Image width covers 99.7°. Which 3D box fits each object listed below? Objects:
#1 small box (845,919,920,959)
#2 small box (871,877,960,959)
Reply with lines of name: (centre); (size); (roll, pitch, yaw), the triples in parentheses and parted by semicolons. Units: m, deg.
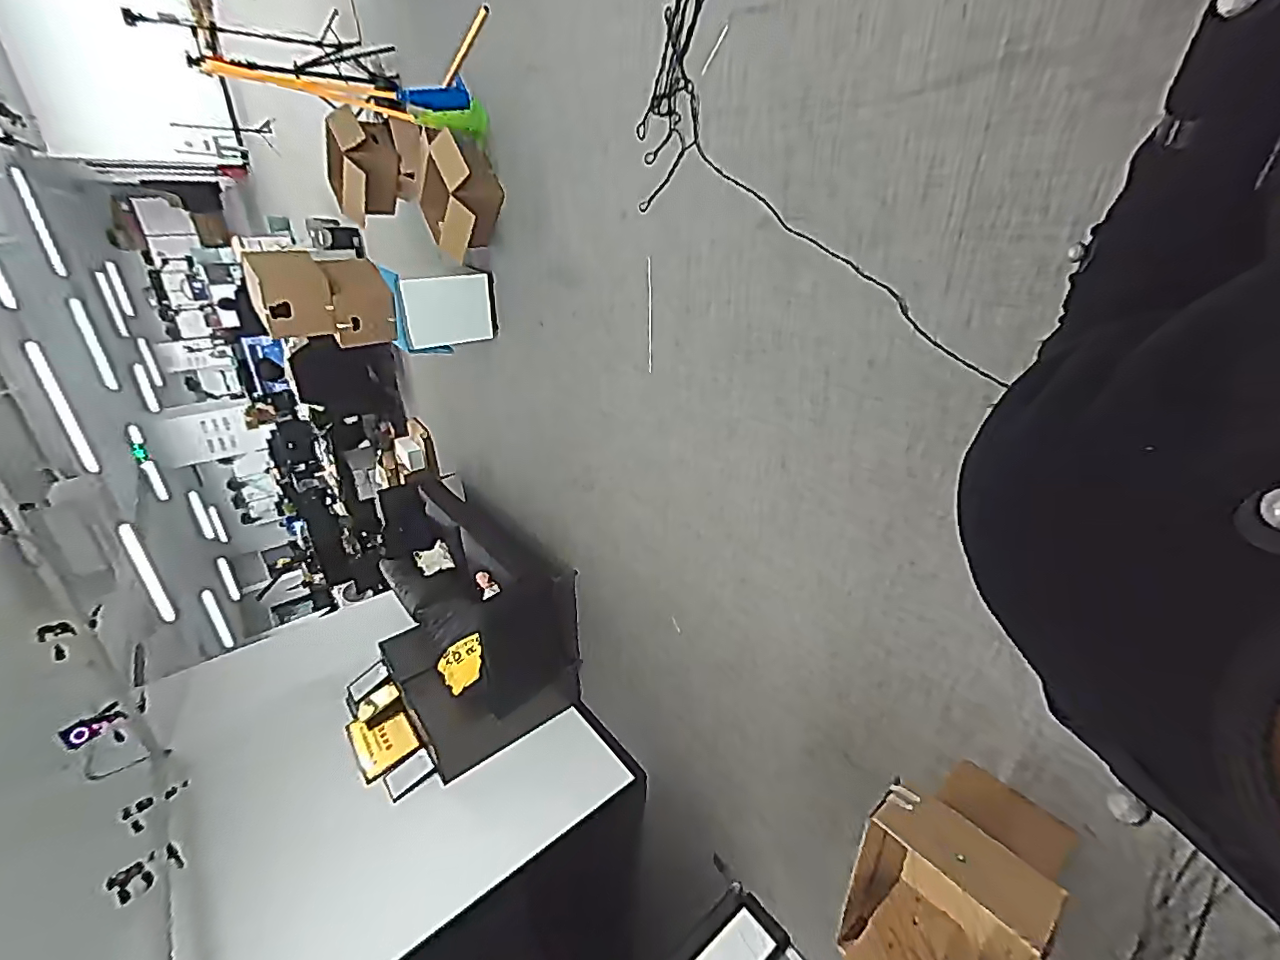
small box: (0.613, 1.269, 1.353); (0.168, 0.176, 0.179); (21, 121, 48)
small box: (0.735, 1.232, 1.456); (0.168, 0.176, 0.179); (23, 121, 47)
